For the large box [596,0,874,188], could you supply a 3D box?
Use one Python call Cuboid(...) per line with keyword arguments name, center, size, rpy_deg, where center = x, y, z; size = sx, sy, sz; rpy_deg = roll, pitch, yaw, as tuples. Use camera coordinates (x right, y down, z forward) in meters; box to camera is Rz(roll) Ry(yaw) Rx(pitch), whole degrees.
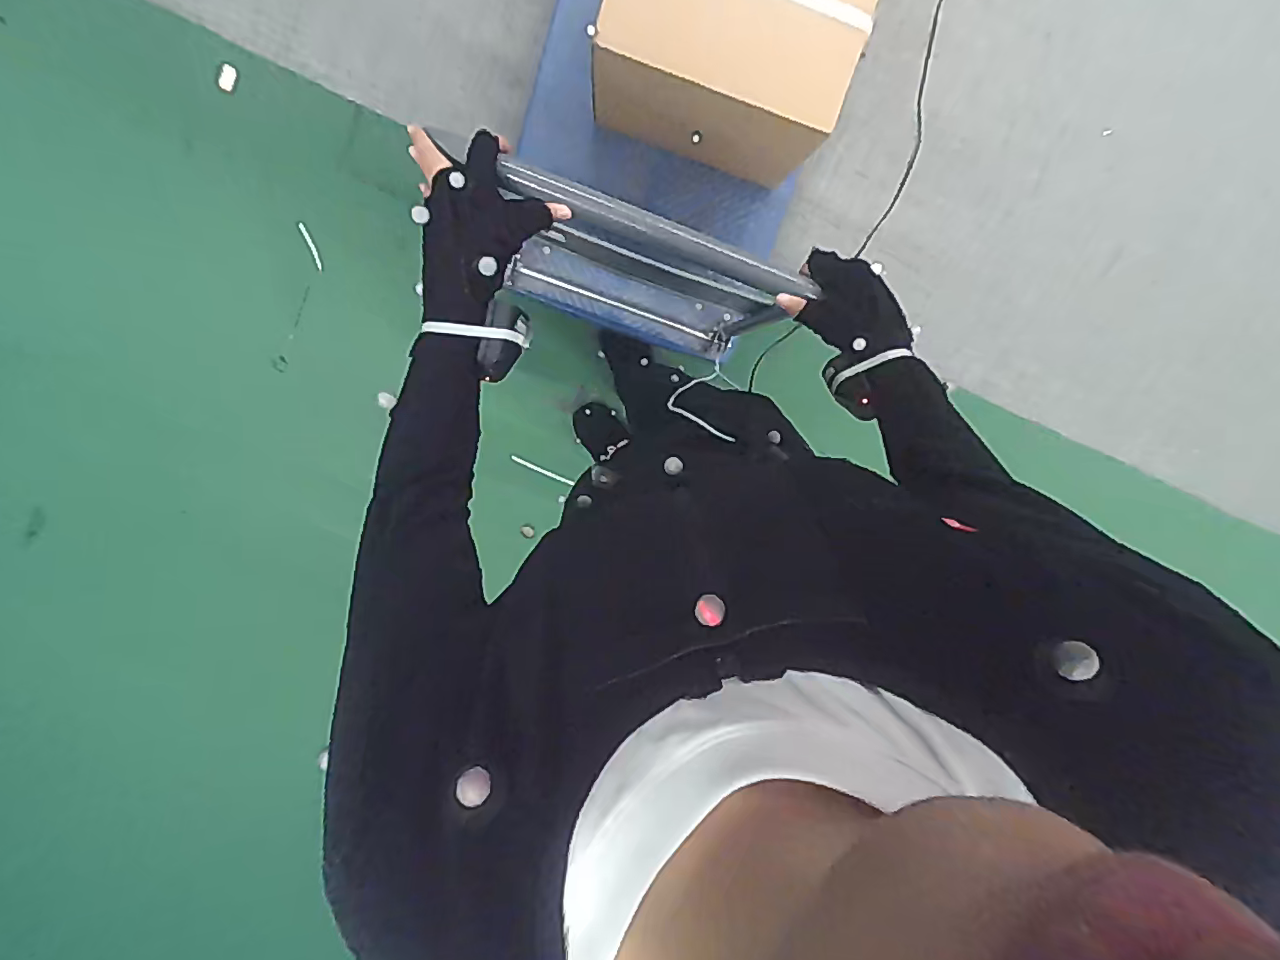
Cuboid(name="large box", center=(0.154, -0.783, 0.973), size=(0.408, 0.320, 0.320), rpy_deg=(15, 101, -6))
